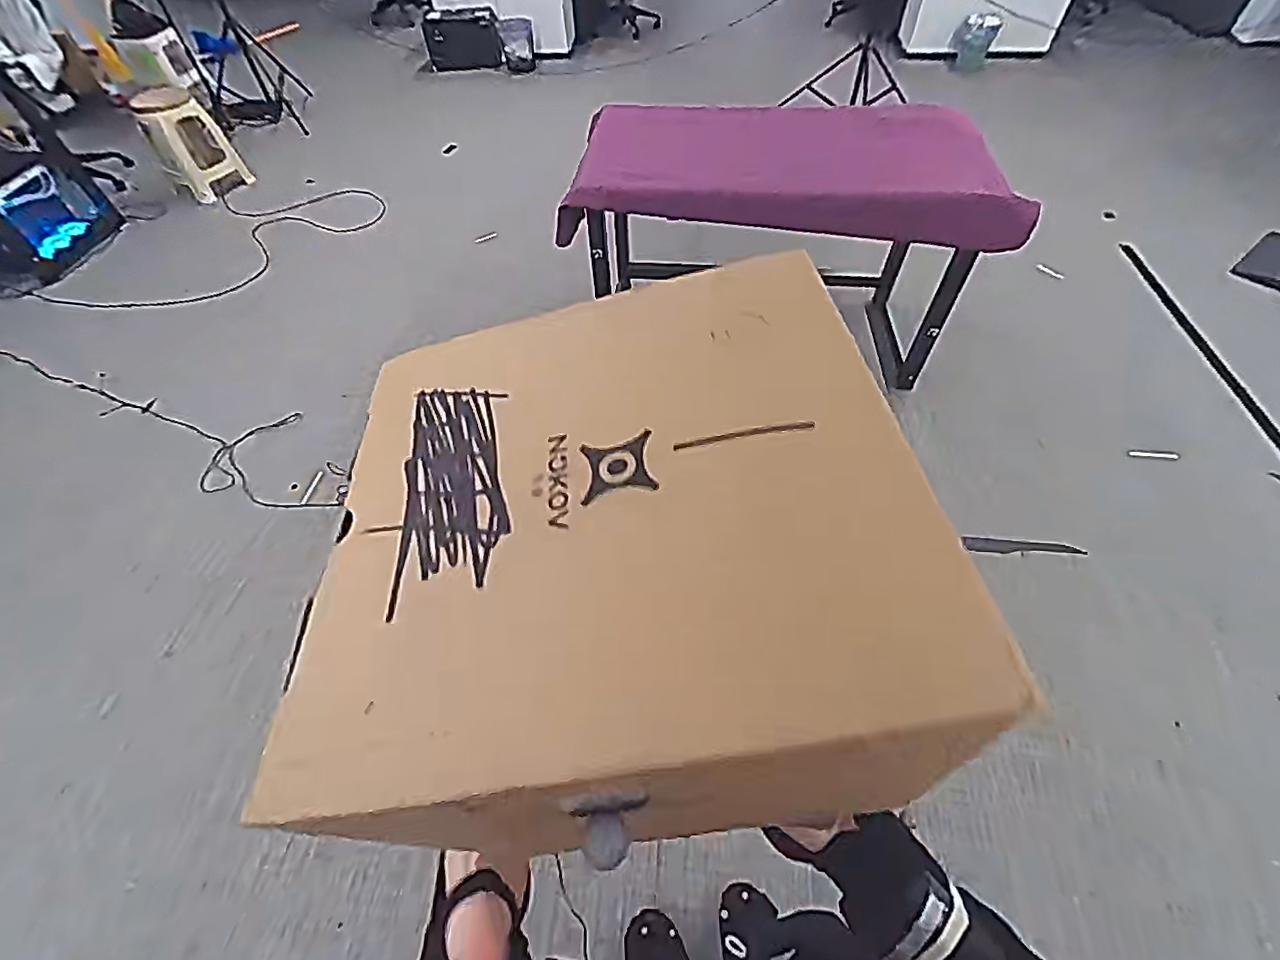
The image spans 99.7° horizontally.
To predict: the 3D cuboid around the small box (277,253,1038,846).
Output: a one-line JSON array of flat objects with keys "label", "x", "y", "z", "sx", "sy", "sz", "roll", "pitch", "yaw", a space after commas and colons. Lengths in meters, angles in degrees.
[{"label": "small box", "x": 0.008, "y": 0.043, "z": 0.227, "sx": 0.179, "sy": 0.176, "sz": 0.168, "roll": -13, "pitch": 52, "yaw": 6}]
